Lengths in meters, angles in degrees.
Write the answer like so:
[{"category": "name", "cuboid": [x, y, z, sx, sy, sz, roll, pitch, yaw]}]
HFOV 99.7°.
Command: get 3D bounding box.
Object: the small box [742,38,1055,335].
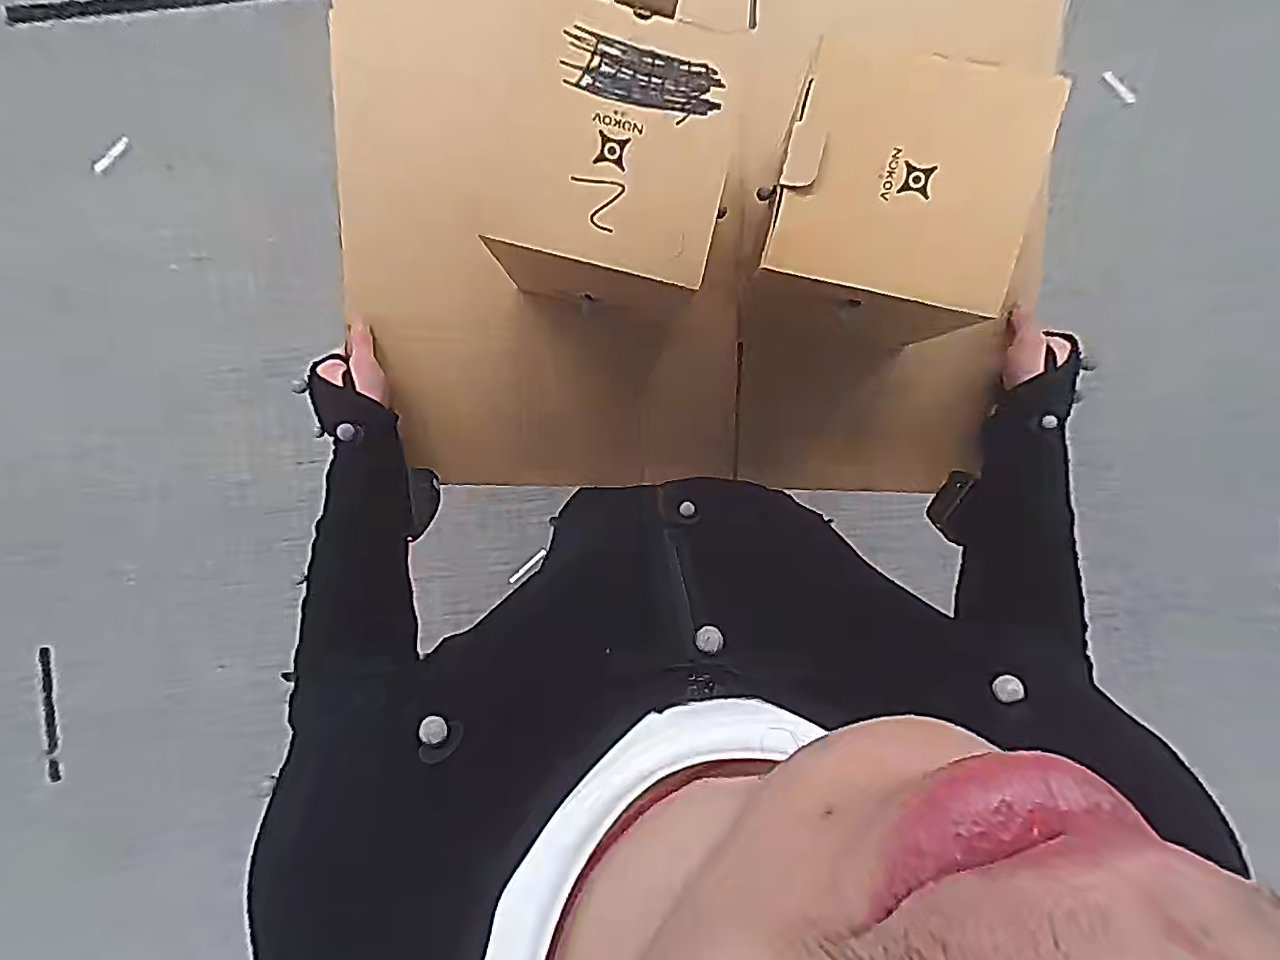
[{"category": "small box", "cuboid": [0.200, -0.232, 0.476, 0.179, 0.176, 0.168, 14, 98, 4]}]
